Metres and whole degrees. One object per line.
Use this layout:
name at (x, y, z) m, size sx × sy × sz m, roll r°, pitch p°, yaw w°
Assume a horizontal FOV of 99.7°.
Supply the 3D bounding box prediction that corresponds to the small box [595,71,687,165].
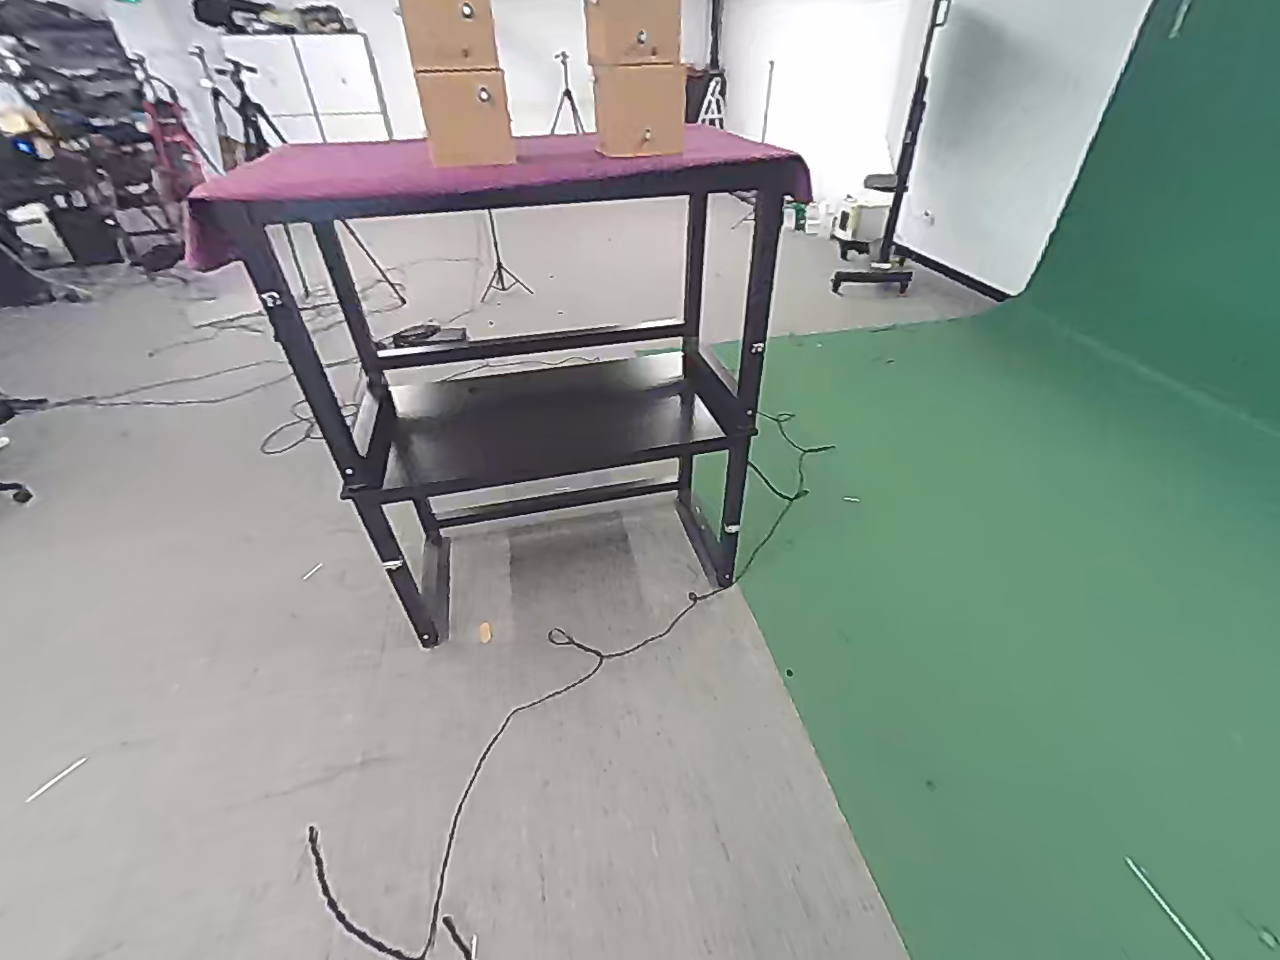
small box at (-0.001, -0.830, 1.238) m, size 0.179 × 0.176 × 0.168 m, roll -9°, pitch 37°, yaw -10°

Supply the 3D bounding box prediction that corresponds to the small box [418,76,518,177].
small box at (-0.364, -0.771, 1.176) m, size 0.179 × 0.176 × 0.168 m, roll -9°, pitch 38°, yaw -9°

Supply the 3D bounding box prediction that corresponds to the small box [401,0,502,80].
small box at (-0.371, -0.902, 1.078) m, size 0.168 × 0.176 × 0.179 m, roll -8°, pitch 38°, yaw -9°
